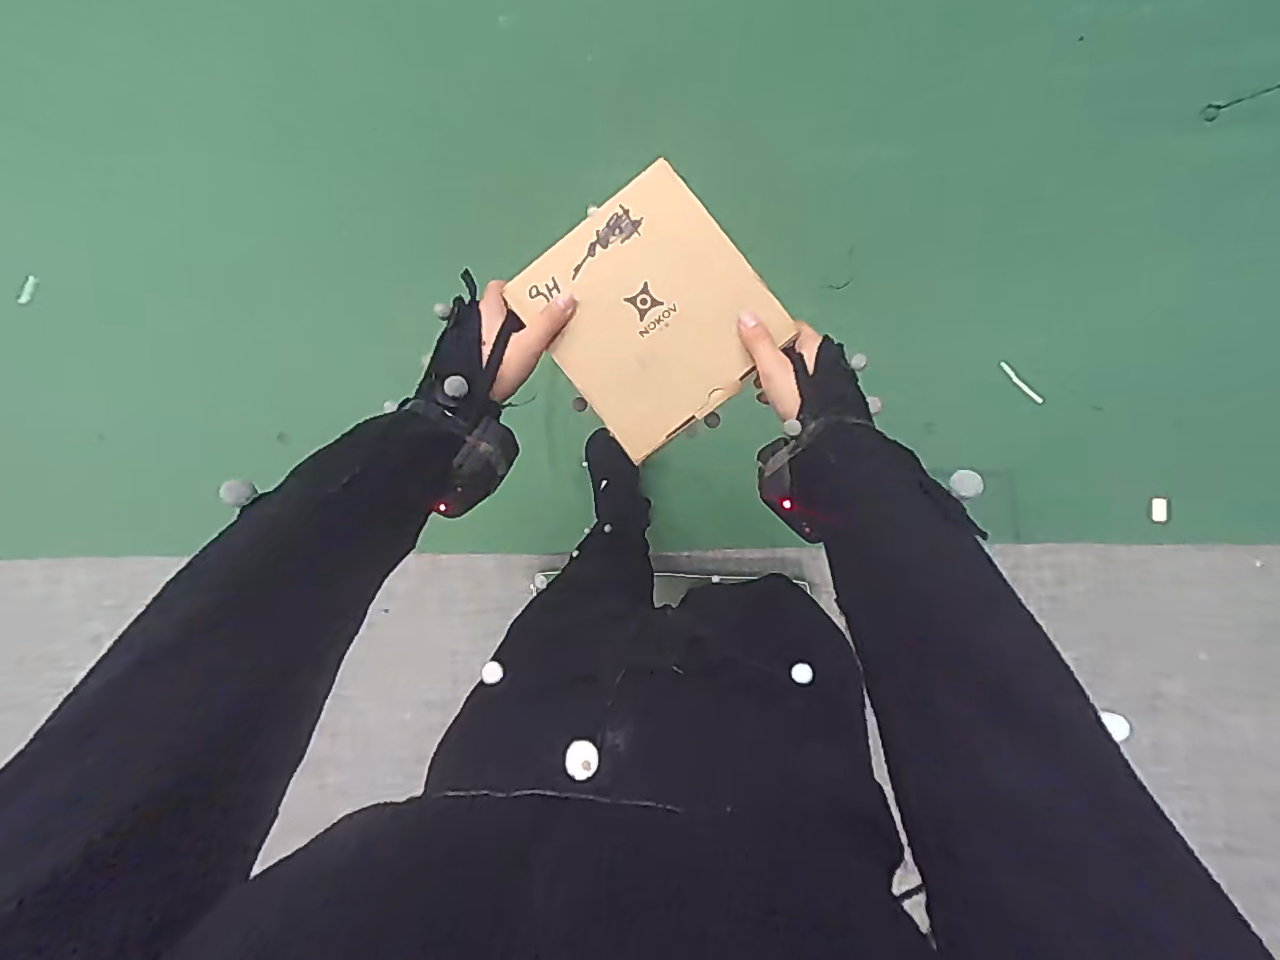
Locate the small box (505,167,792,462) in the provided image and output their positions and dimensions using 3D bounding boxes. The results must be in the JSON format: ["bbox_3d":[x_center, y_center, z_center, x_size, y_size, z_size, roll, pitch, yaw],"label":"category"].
[{"bbox_3d":[0.008,-0.134,0.508,0.168,0.176,0.179,-38,91,1],"label":"small box"}]
